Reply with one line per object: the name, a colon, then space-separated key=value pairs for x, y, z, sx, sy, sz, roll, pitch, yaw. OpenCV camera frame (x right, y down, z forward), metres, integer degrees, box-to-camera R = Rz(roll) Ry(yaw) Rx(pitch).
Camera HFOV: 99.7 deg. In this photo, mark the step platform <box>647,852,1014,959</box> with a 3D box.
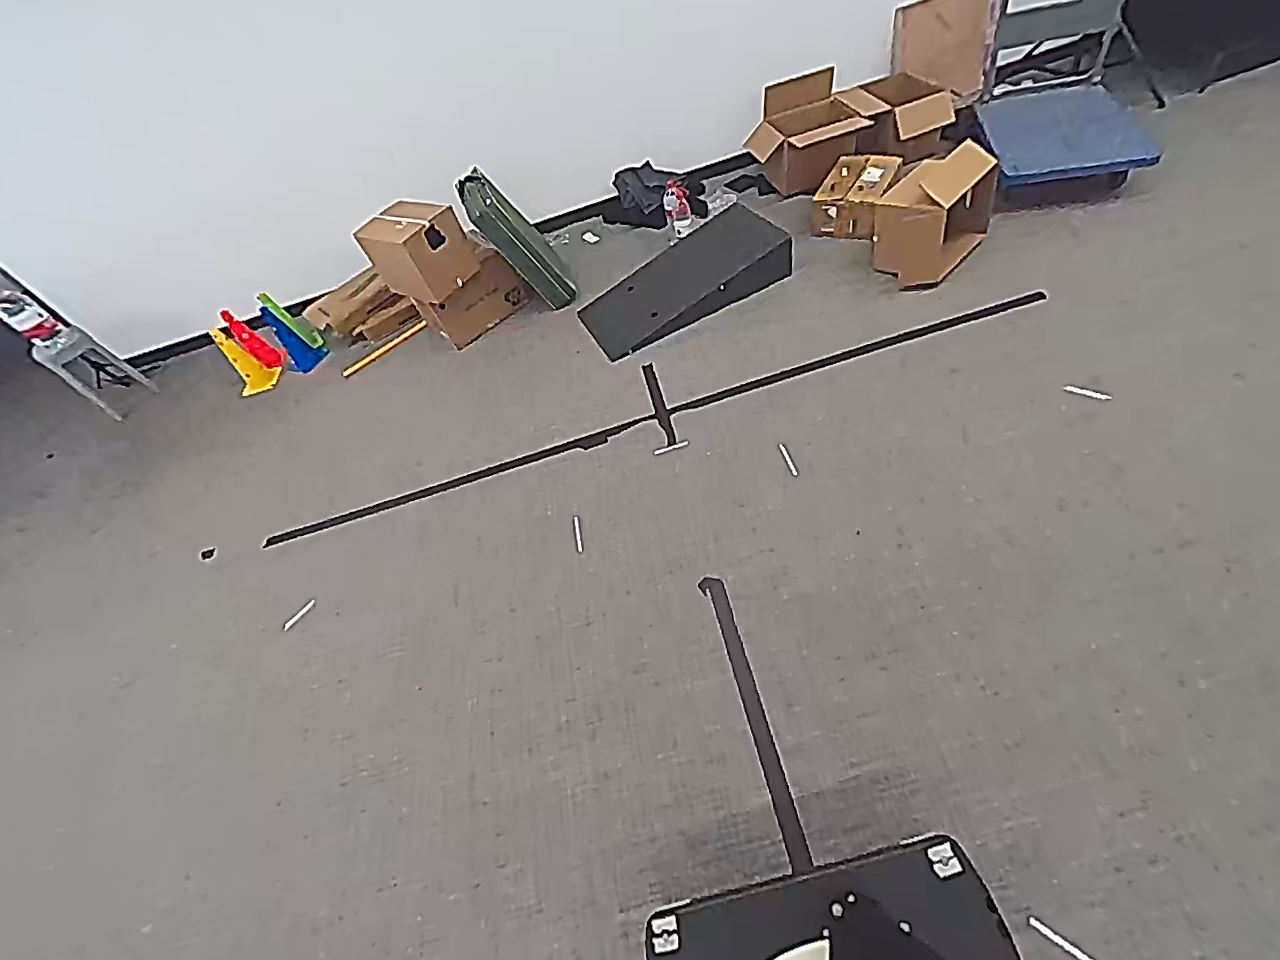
step platform: x=0.357 y=0.973 z=1.045 sx=0.684 sy=0.204 sz=0.286 roll=-18 pitch=50 yaw=1
